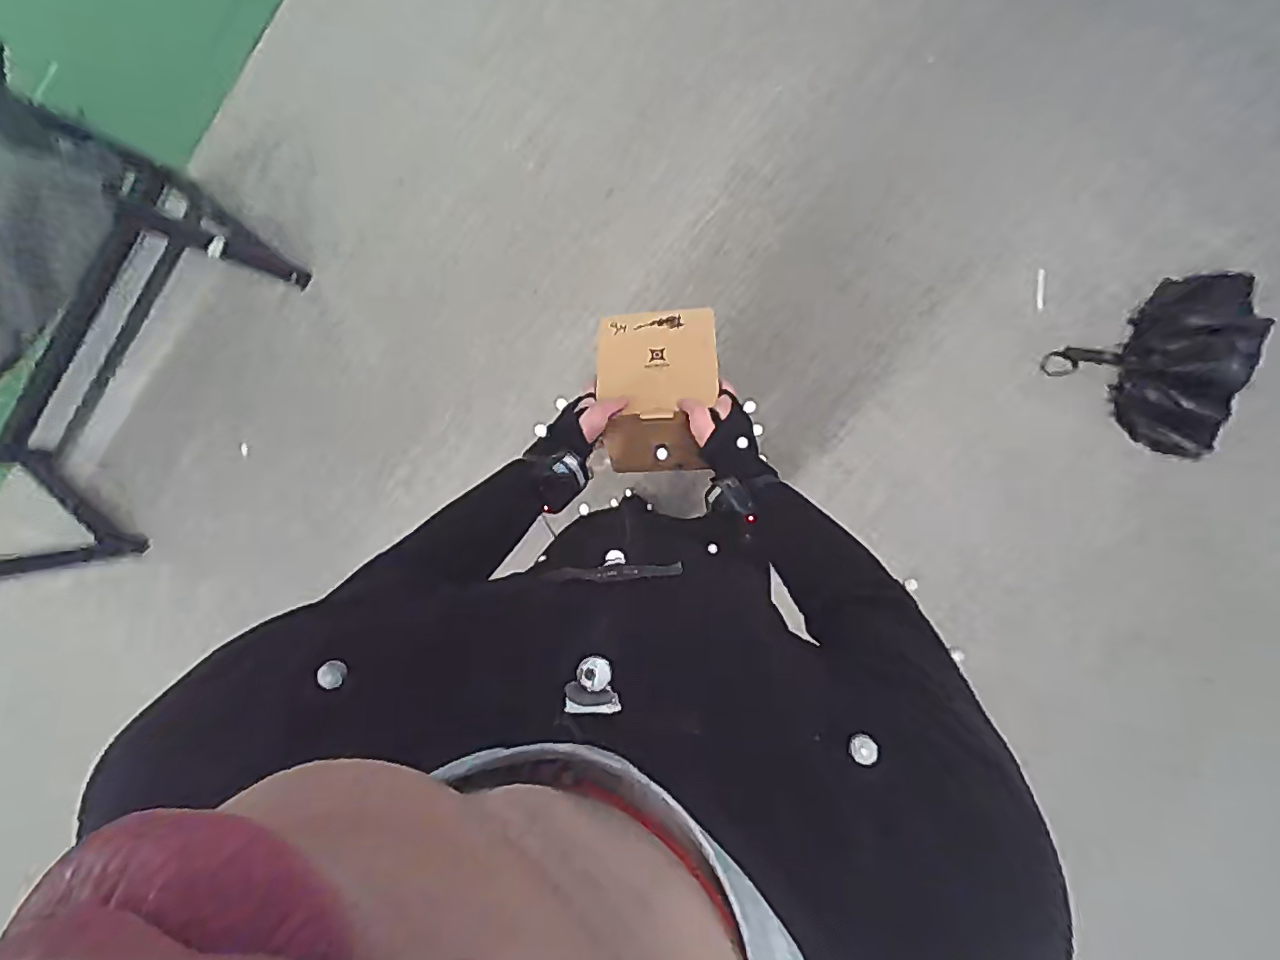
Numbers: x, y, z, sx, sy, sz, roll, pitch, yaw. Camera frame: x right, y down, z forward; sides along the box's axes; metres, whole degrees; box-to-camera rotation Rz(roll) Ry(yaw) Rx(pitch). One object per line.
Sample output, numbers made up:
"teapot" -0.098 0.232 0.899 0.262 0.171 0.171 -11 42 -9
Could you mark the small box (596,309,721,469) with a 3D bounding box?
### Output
"small box" 0.034 -0.125 0.809 0.168 0.176 0.179 -3 64 6
